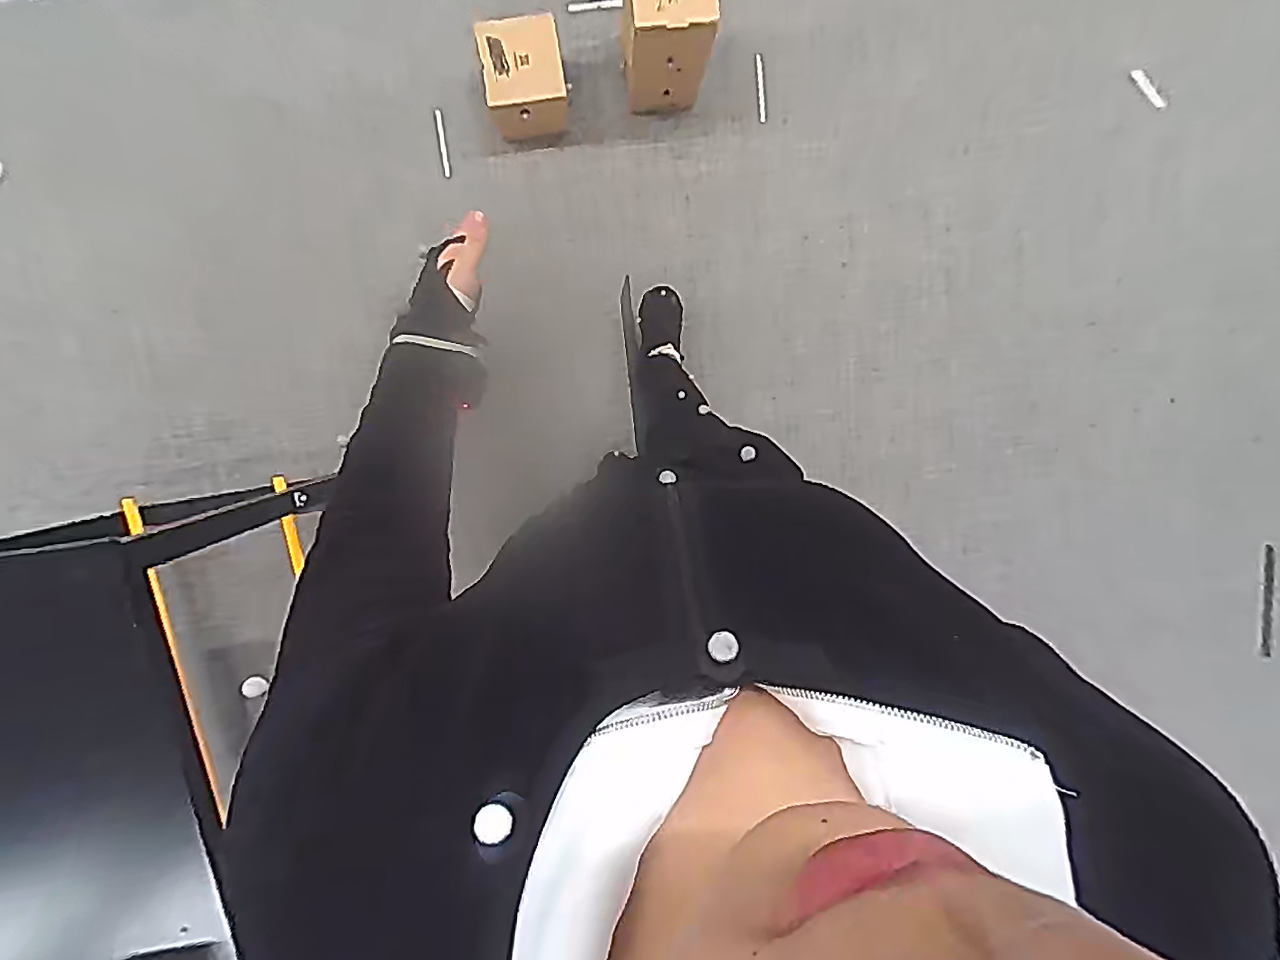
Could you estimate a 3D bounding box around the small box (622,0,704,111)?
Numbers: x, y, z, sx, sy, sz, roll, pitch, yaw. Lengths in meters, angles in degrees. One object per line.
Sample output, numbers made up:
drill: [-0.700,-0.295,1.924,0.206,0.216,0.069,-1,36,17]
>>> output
small box: [0.050,-0.990,1.256,0.168,0.176,0.179,-8,100,-1]

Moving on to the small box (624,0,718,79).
small box: [0.056,-0.956,1.093,0.168,0.176,0.179,-6,100,-2]

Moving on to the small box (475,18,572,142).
small box: [-0.261,-0.911,1.249,0.179,0.176,0.168,-10,99,-2]
